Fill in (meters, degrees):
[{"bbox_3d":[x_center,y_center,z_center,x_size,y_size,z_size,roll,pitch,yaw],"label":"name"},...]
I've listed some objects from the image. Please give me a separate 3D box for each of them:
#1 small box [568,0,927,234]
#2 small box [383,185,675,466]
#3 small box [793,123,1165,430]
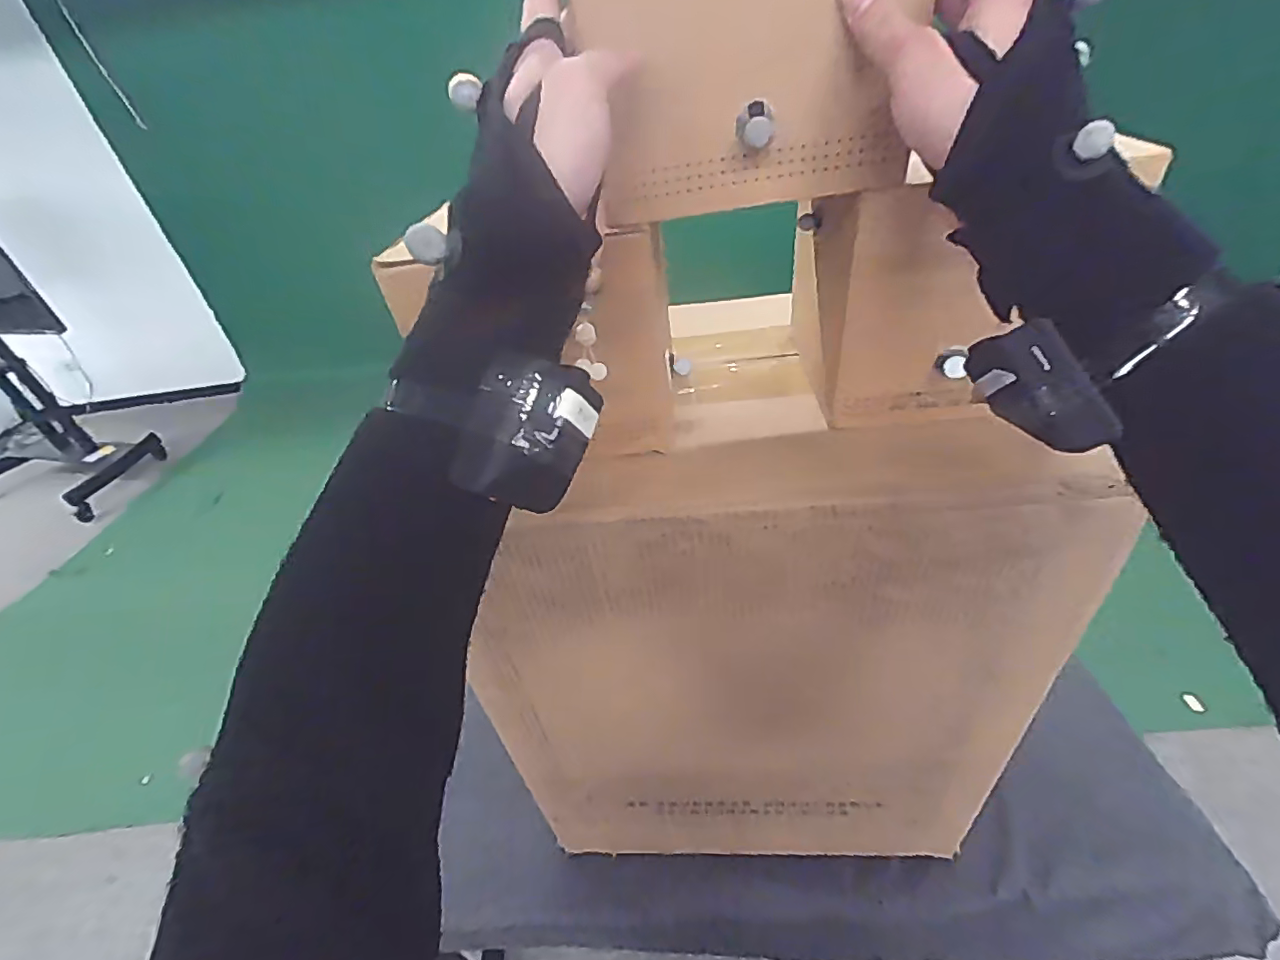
[{"bbox_3d":[0.054,-0.266,0.325,0.179,0.176,0.168,-6,40,3],"label":"small box"},{"bbox_3d":[-0.064,-0.124,0.439,0.179,0.176,0.168,-3,41,5],"label":"small box"},{"bbox_3d":[0.220,-0.158,0.419,0.168,0.176,0.179,-4,41,6],"label":"small box"}]
